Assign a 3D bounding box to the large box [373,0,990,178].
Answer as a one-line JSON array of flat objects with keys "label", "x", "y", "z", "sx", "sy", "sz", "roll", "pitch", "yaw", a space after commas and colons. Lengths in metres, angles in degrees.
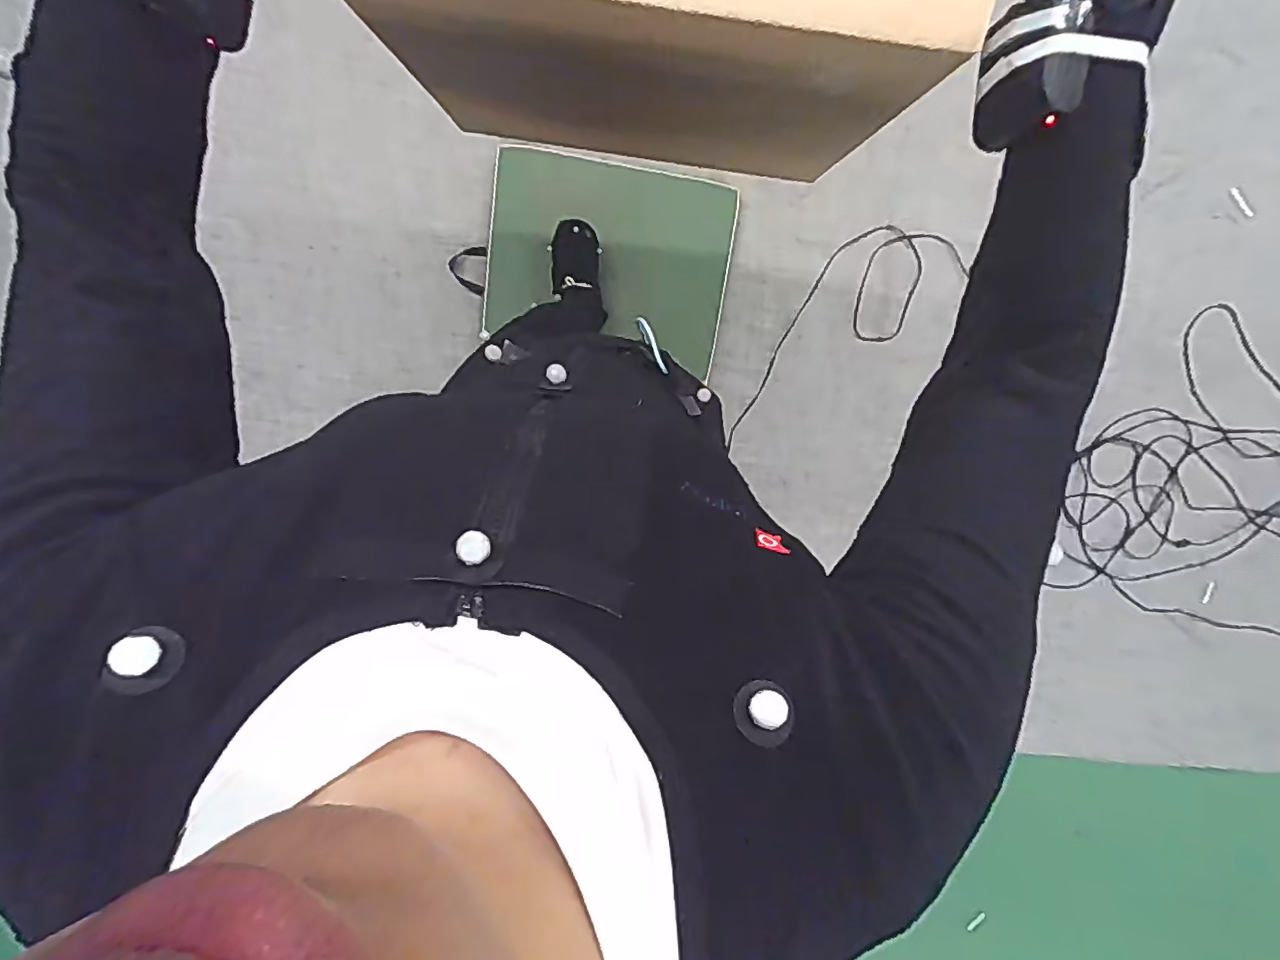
[{"label": "large box", "x": 0.027, "y": -0.472, "z": 0.433, "sx": 0.408, "sy": 0.320, "sz": 0.320, "roll": 6, "pitch": 106, "yaw": -4}]
